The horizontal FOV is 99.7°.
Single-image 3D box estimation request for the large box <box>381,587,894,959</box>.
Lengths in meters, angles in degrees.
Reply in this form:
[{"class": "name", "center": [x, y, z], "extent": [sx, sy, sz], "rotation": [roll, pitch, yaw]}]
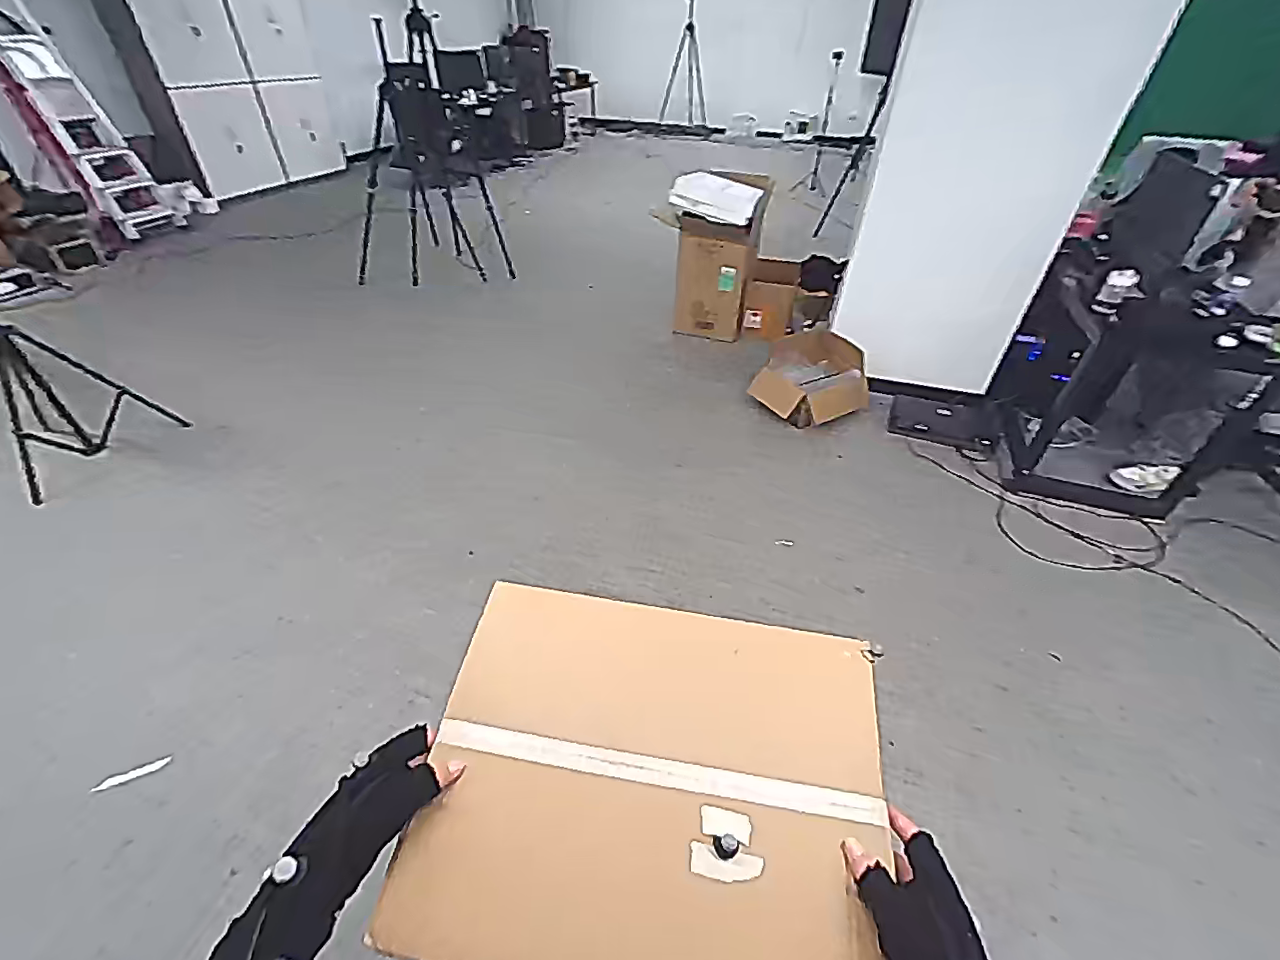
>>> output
[{"class": "large box", "center": [0.010, 0.353, 0.610], "extent": [0.408, 0.320, 0.320], "rotation": [8, 52, 4]}]
